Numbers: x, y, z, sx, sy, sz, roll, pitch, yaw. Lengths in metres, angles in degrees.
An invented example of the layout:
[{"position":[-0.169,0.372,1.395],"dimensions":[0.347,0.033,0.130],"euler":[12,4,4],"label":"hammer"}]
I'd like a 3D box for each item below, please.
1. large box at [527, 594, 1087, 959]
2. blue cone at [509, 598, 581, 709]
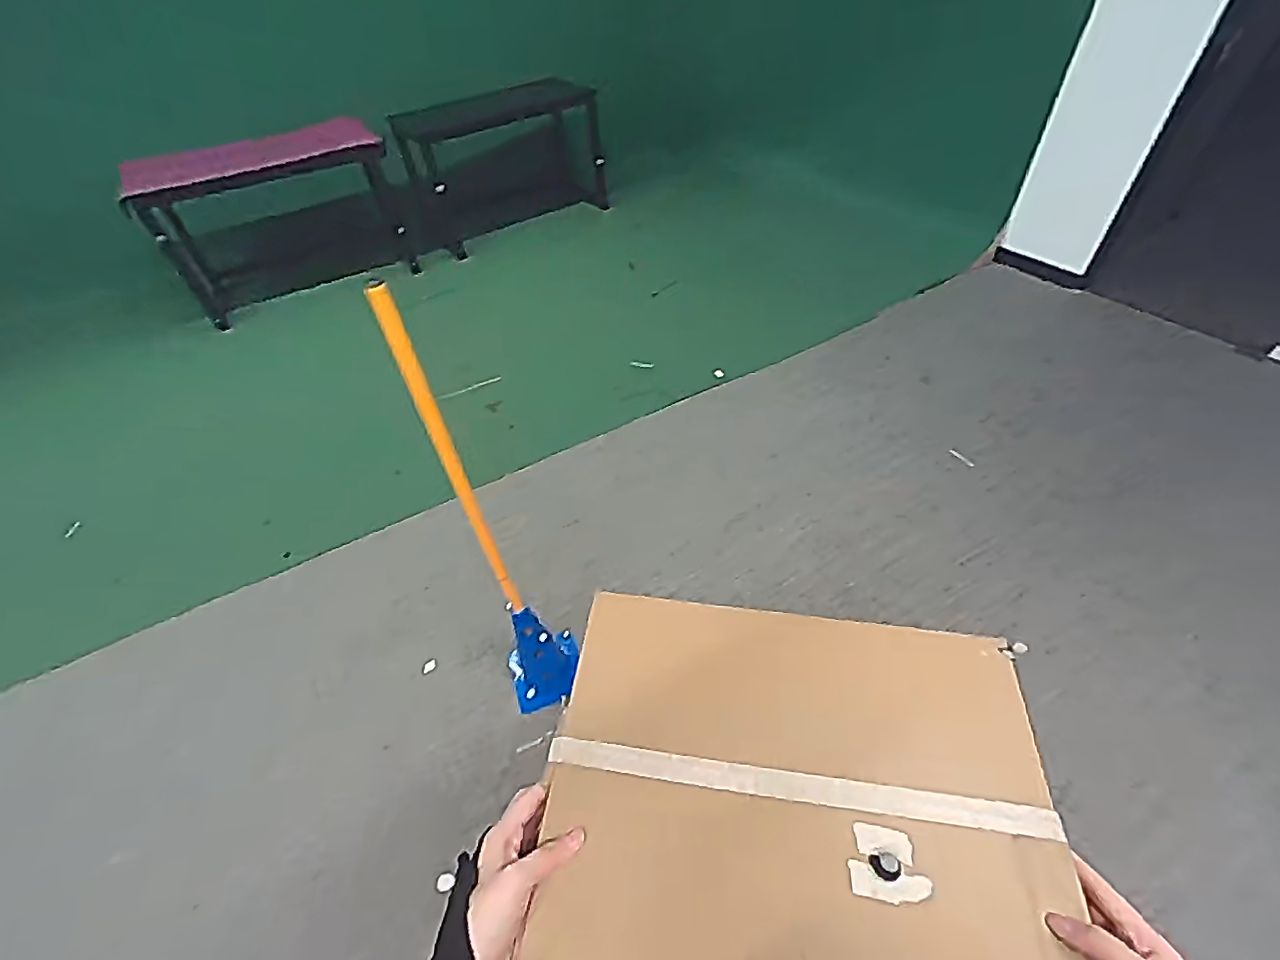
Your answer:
[{"position":[0.137,0.351,0.574],"dimensions":[0.408,0.320,0.320],"euler":[6,51,7],"label":"large box"},{"position":[-0.289,0.442,1.457],"dimensions":[0.193,0.380,0.192],"euler":[-17,46,-11],"label":"blue cone"}]
